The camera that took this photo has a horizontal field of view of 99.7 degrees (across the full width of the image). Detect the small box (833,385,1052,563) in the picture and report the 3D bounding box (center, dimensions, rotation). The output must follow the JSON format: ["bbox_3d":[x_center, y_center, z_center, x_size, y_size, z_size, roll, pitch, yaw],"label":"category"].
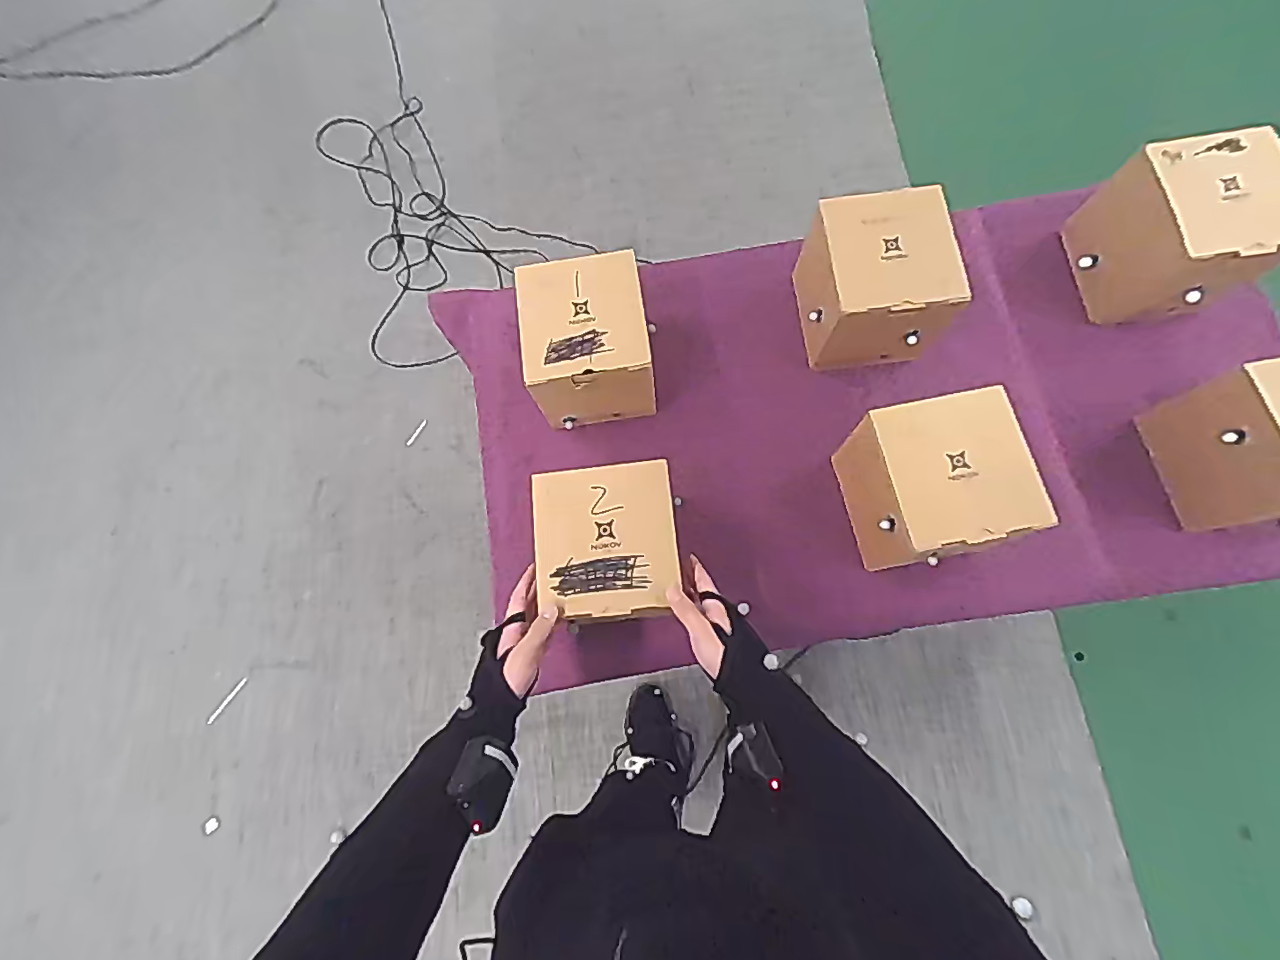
[{"bbox_3d":[0.371,0.001,0.703,0.168,0.176,0.179,-10,75,0],"label":"small box"}]

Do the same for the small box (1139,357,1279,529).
[{"bbox_3d":[0.800,-0.046,0.684,0.168,0.176,0.179,-9,75,3],"label":"small box"}]

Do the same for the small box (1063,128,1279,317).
[{"bbox_3d":[0.756,-0.348,0.766,0.168,0.176,0.179,-7,78,2],"label":"small box"}]

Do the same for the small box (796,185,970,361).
[{"bbox_3d":[0.334,-0.284,0.780,0.168,0.176,0.179,-5,75,2],"label":"small box"}]

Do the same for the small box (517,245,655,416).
[{"bbox_3d":[-0.070,-0.202,0.781,0.168,0.176,0.179,-8,75,1],"label":"small box"}]
